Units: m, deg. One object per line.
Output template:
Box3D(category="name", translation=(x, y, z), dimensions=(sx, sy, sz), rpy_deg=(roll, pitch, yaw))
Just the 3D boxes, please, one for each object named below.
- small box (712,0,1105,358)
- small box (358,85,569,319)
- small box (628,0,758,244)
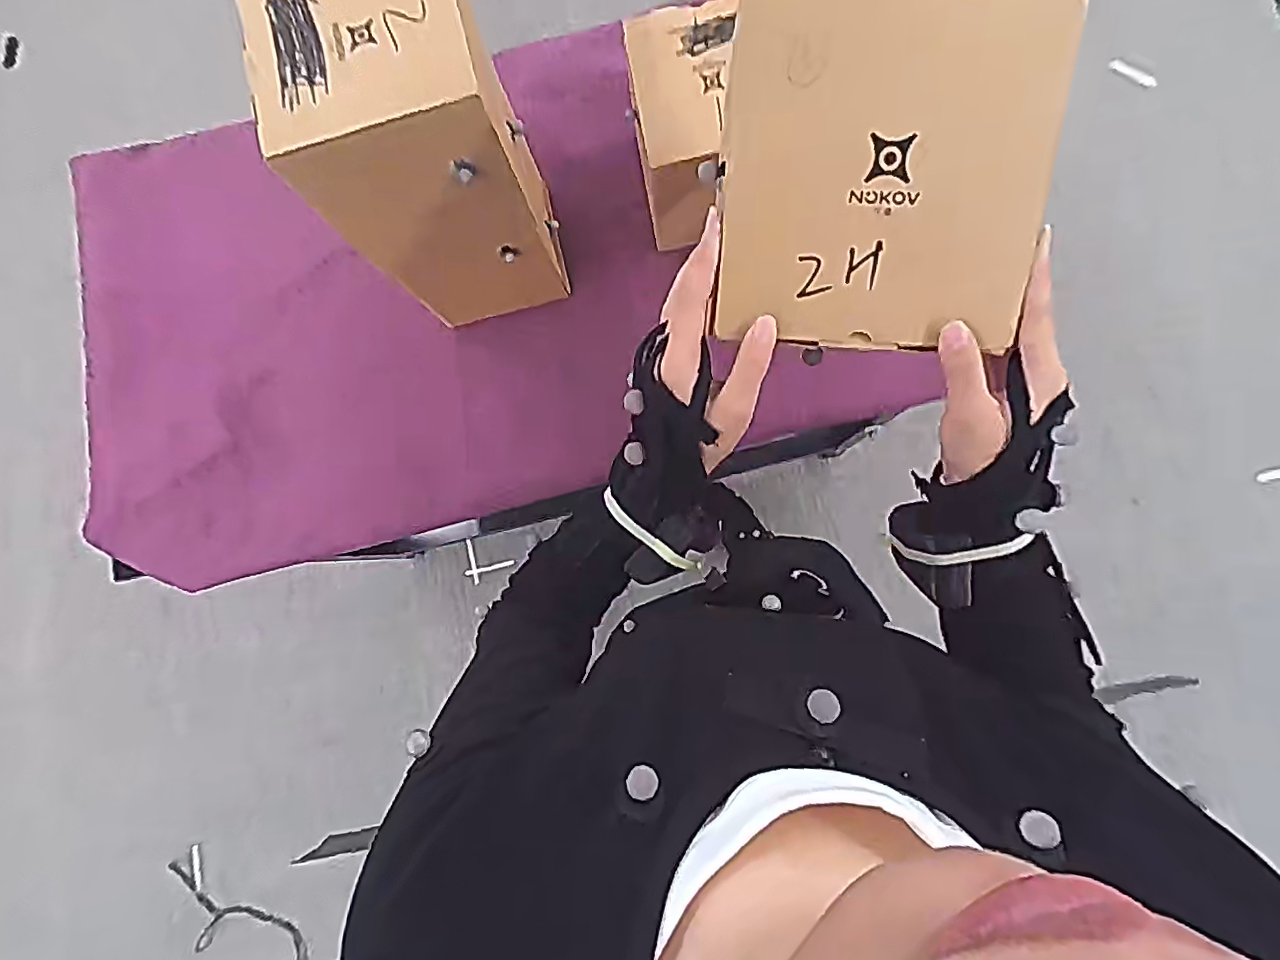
Box3D(category="small box", translation=(0.138, -0.176, 0.354), dimensions=(0.168, 0.176, 0.179), rpy_deg=(5, 105, 5))
Box3D(category="small box", translation=(-0.202, -0.318, 0.655), dimensions=(0.179, 0.176, 0.168), rpy_deg=(-14, 82, 3))
Box3D(category="small box", translation=(0.085, -0.415, 0.638), dimensions=(0.168, 0.176, 0.179), rpy_deg=(-10, 83, 4))
